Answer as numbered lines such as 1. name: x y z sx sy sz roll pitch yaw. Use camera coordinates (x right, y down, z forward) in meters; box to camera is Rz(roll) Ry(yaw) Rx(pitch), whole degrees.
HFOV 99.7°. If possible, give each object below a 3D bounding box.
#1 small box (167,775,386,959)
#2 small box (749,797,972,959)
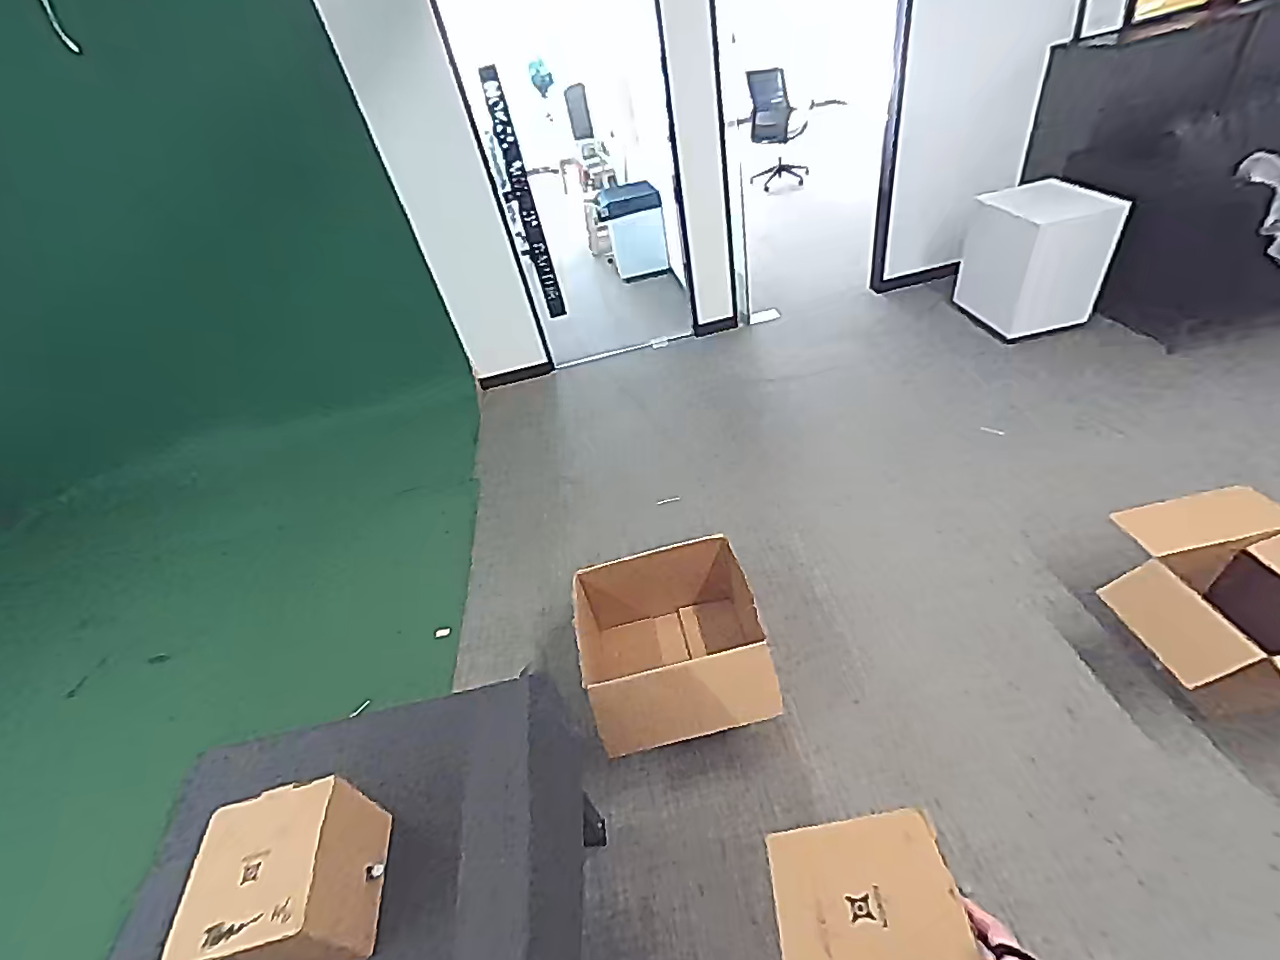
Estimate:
1. small box: -0.464 0.541 0.729 0.168 0.176 0.179 -15 40 -5
2. small box: 0.227 0.460 0.541 0.179 0.176 0.168 -22 23 14
